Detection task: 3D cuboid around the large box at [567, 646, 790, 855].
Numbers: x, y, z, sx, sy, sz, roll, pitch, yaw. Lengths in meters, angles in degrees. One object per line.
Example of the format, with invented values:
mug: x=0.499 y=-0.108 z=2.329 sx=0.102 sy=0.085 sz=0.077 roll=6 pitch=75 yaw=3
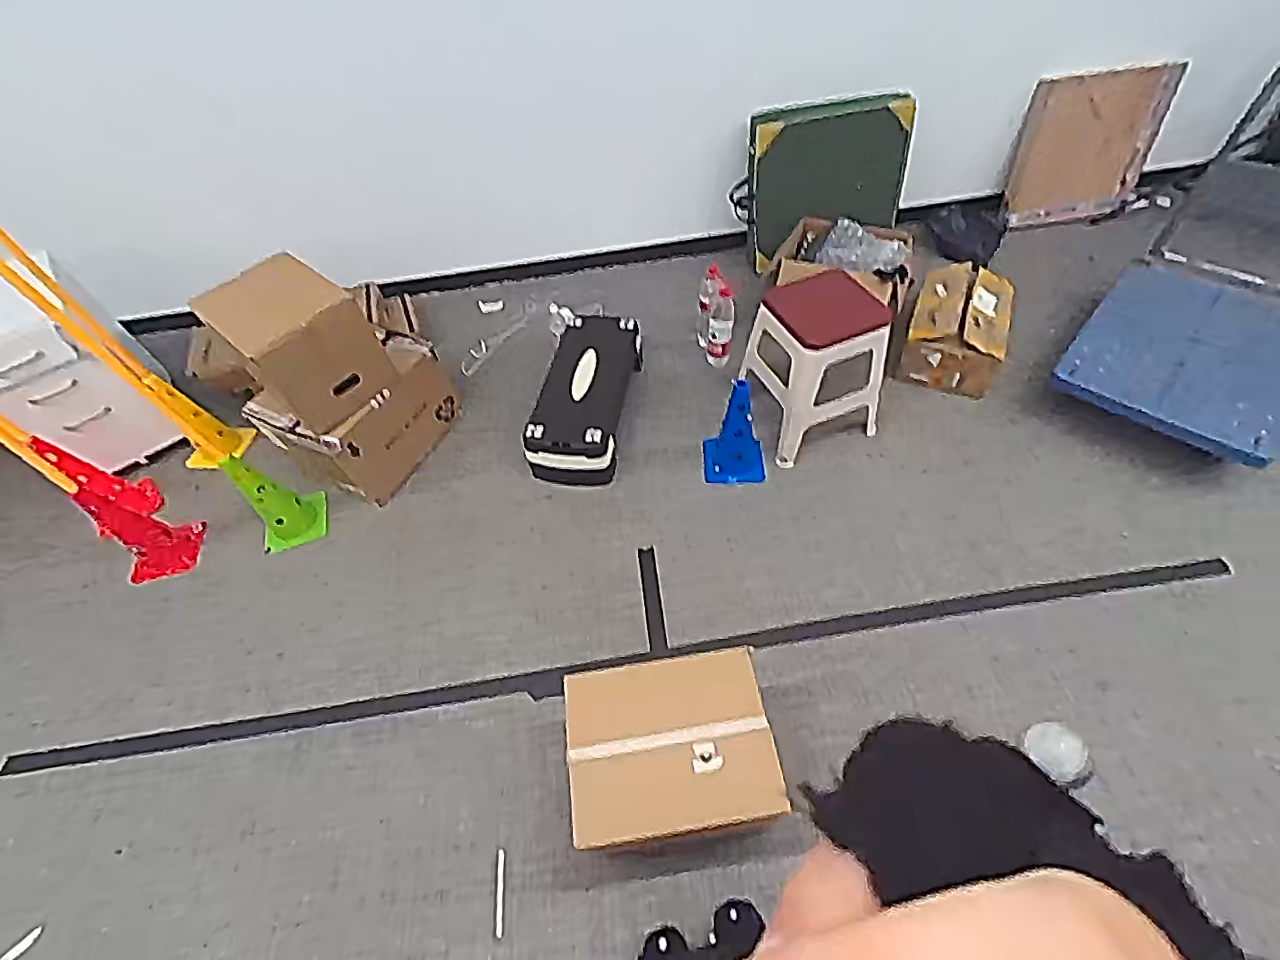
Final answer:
large box: x=0.068 y=0.602 z=1.195 sx=0.408 sy=0.320 sz=0.320 roll=-8 pitch=54 yaw=-3
